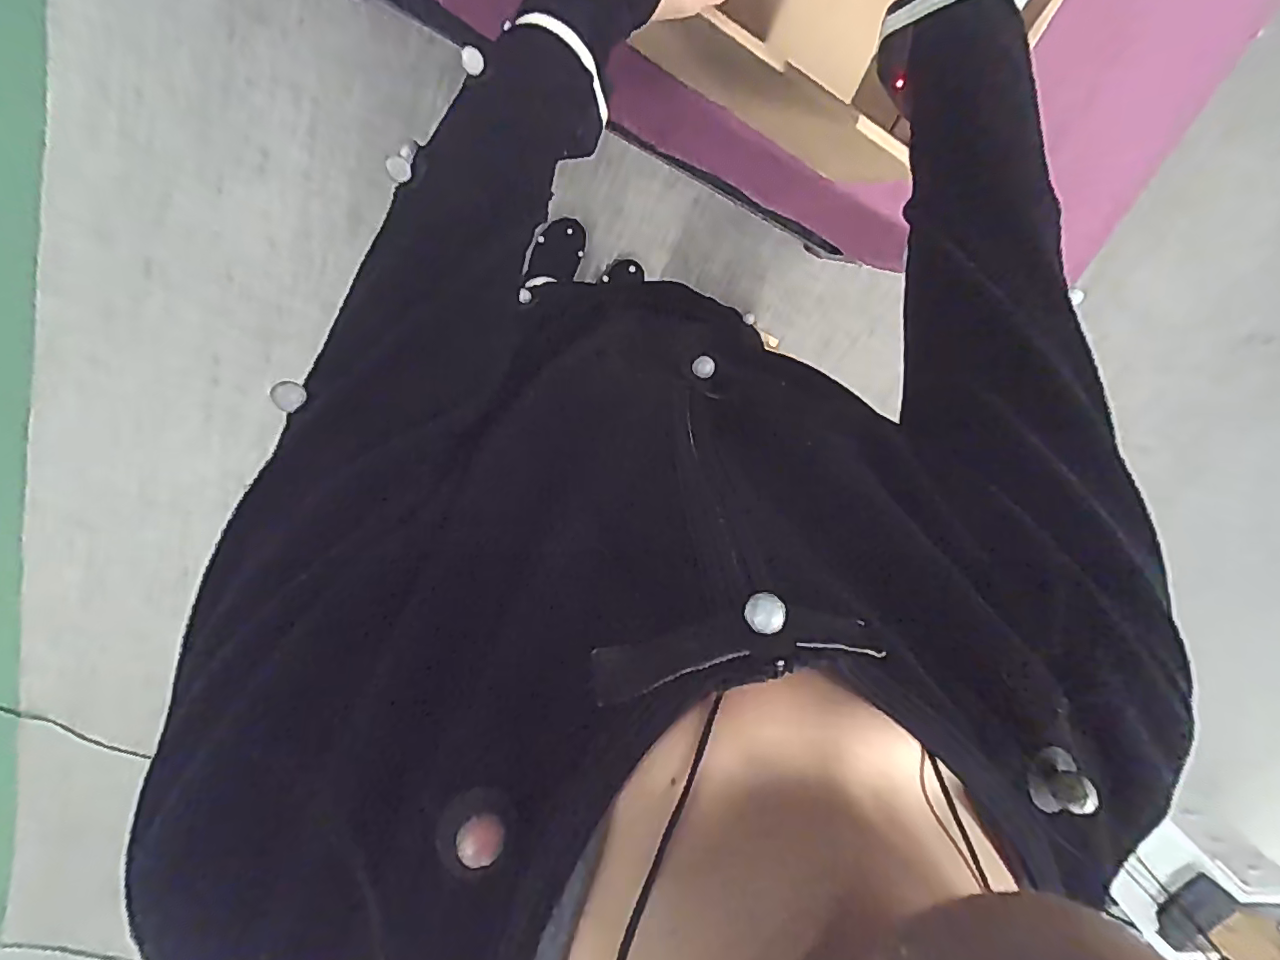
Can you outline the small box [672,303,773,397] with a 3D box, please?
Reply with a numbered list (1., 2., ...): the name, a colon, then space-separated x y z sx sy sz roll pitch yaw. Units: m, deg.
1. small box: 0.204 -0.338 1.384 0.179 0.176 0.168 19 112 -17
